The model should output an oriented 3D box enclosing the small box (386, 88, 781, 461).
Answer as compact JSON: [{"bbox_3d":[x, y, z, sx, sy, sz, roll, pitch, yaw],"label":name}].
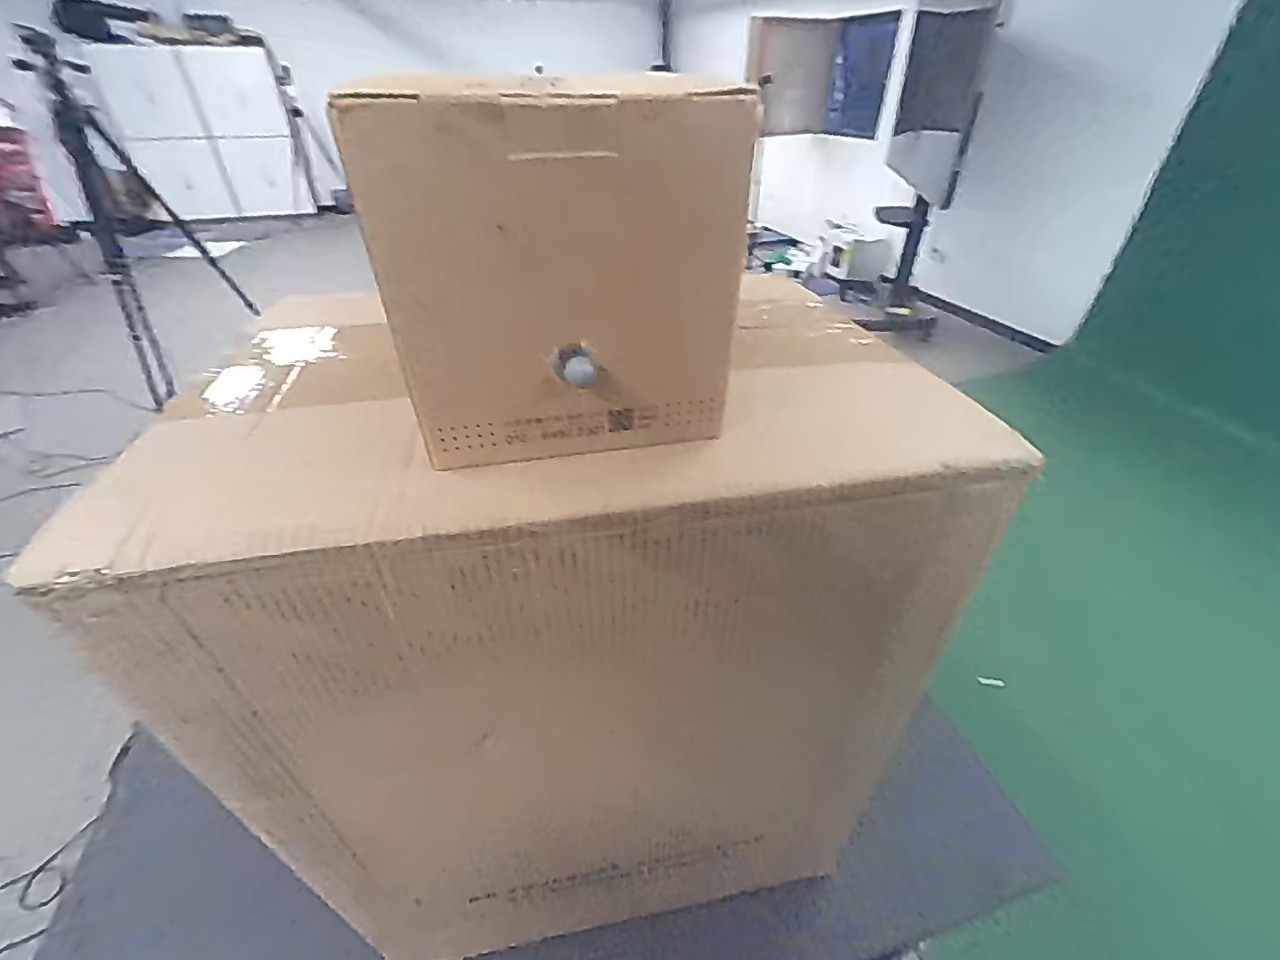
[{"bbox_3d":[-0.037,-0.132,0.333,0.168,0.176,0.179,-7,39,-10],"label":"small box"}]
